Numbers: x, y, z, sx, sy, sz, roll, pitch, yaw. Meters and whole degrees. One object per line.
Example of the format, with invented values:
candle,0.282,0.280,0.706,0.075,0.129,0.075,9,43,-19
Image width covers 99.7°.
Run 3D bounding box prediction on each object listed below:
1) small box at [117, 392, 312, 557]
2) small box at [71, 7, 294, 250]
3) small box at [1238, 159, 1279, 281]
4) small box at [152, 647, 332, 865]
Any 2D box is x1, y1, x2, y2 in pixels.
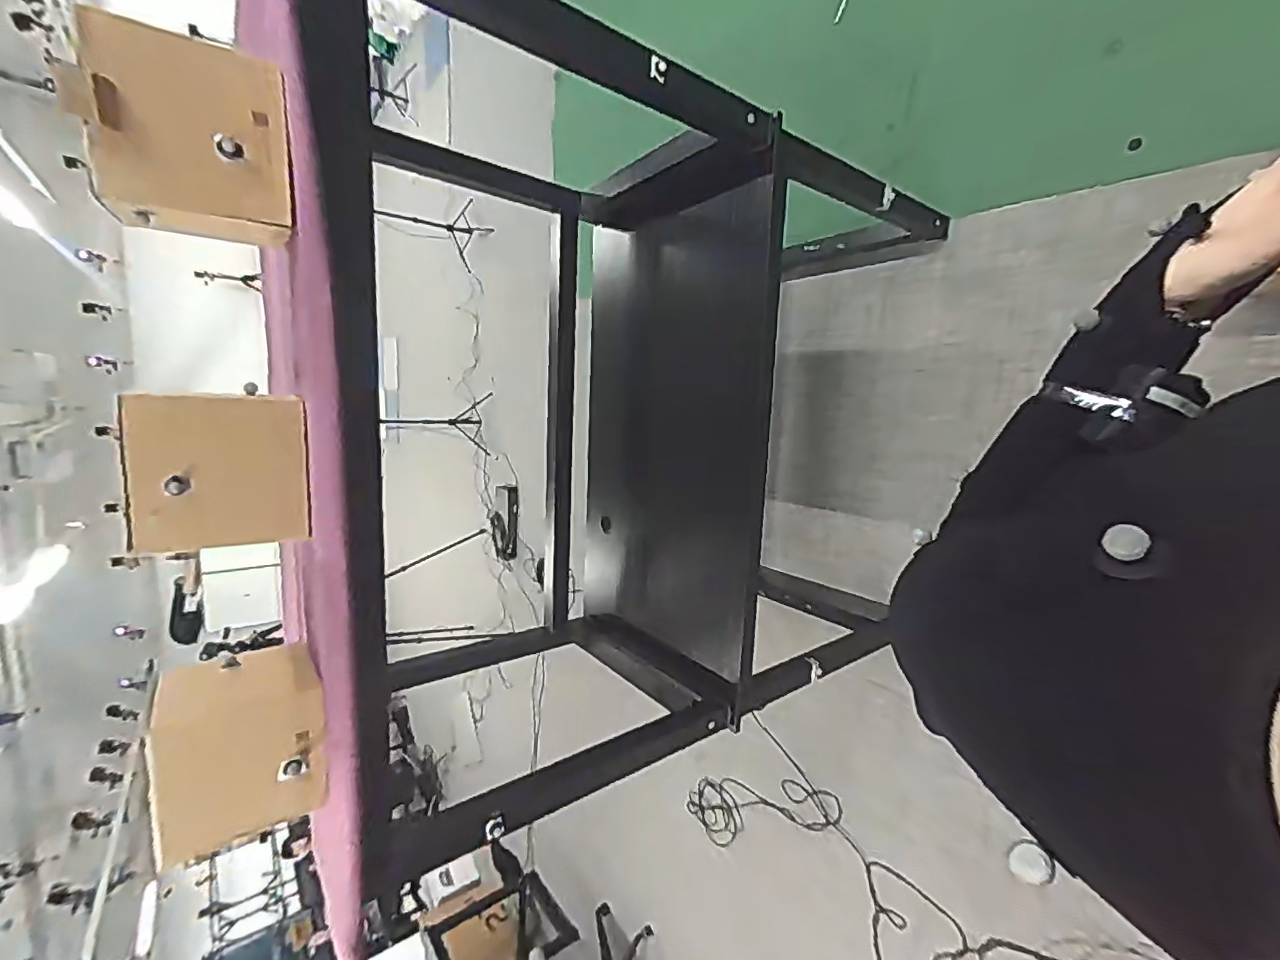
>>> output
small box,-0.517,-0.018,0.678,0.168,0.176,0.179,14,104,53
small box,-0.502,-0.373,0.619,0.179,0.176,0.168,18,109,53
small box,1.129,-0.432,0.887,0.168,0.176,0.179,11,102,52
small box,-0.506,0.332,0.699,0.179,0.176,0.168,6,100,51
